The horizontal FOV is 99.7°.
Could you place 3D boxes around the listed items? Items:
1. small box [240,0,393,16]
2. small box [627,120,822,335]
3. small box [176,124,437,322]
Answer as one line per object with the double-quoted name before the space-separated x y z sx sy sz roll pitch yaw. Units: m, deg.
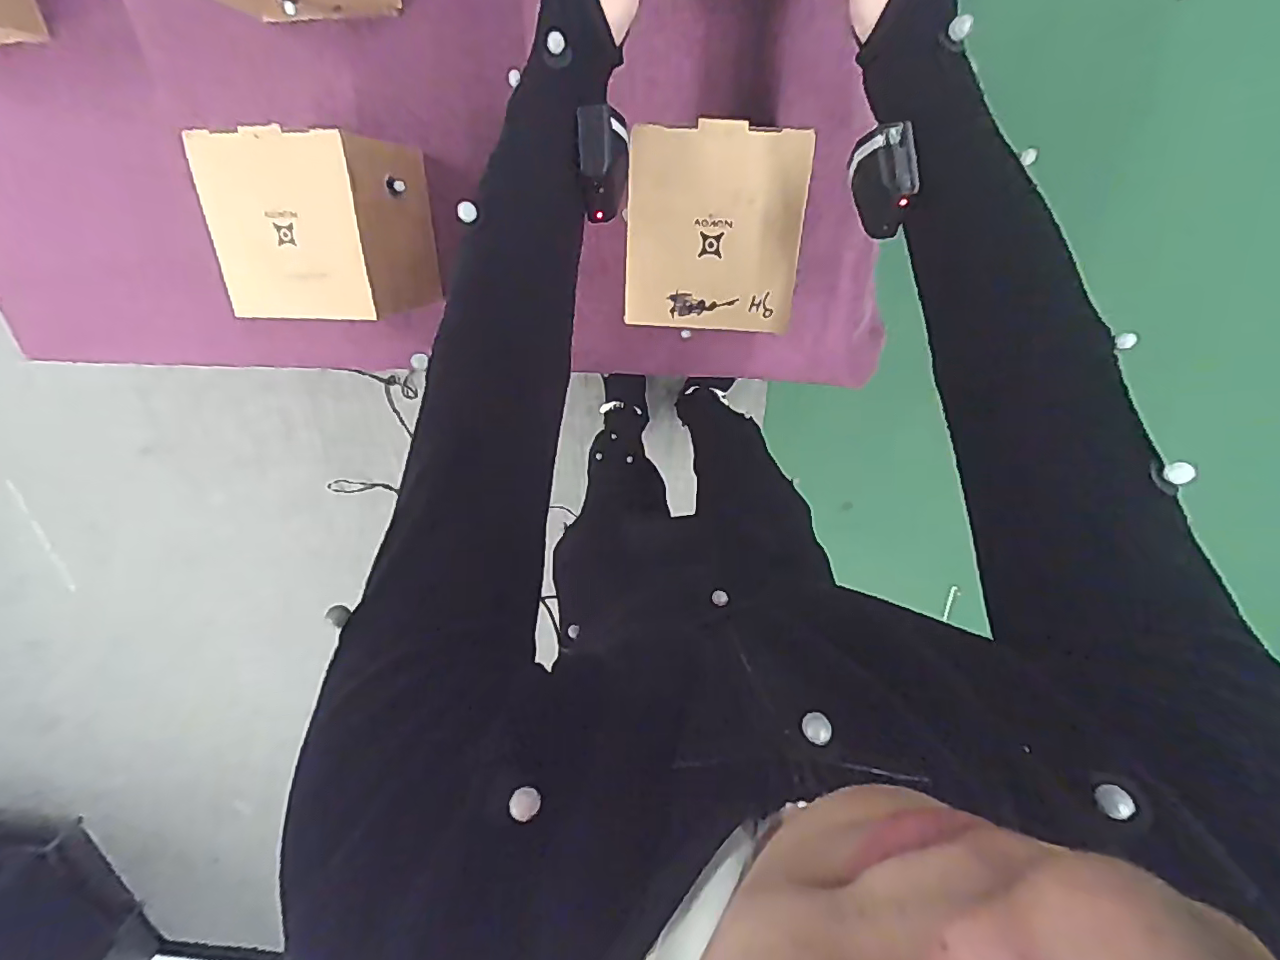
"small box" -0.347 -0.549 0.477 0.168 0.176 0.179 1 117 4
"small box" 0.079 -0.260 0.576 0.168 0.176 0.179 5 114 4
"small box" -0.349 -0.282 0.607 0.168 0.176 0.179 3 116 4
